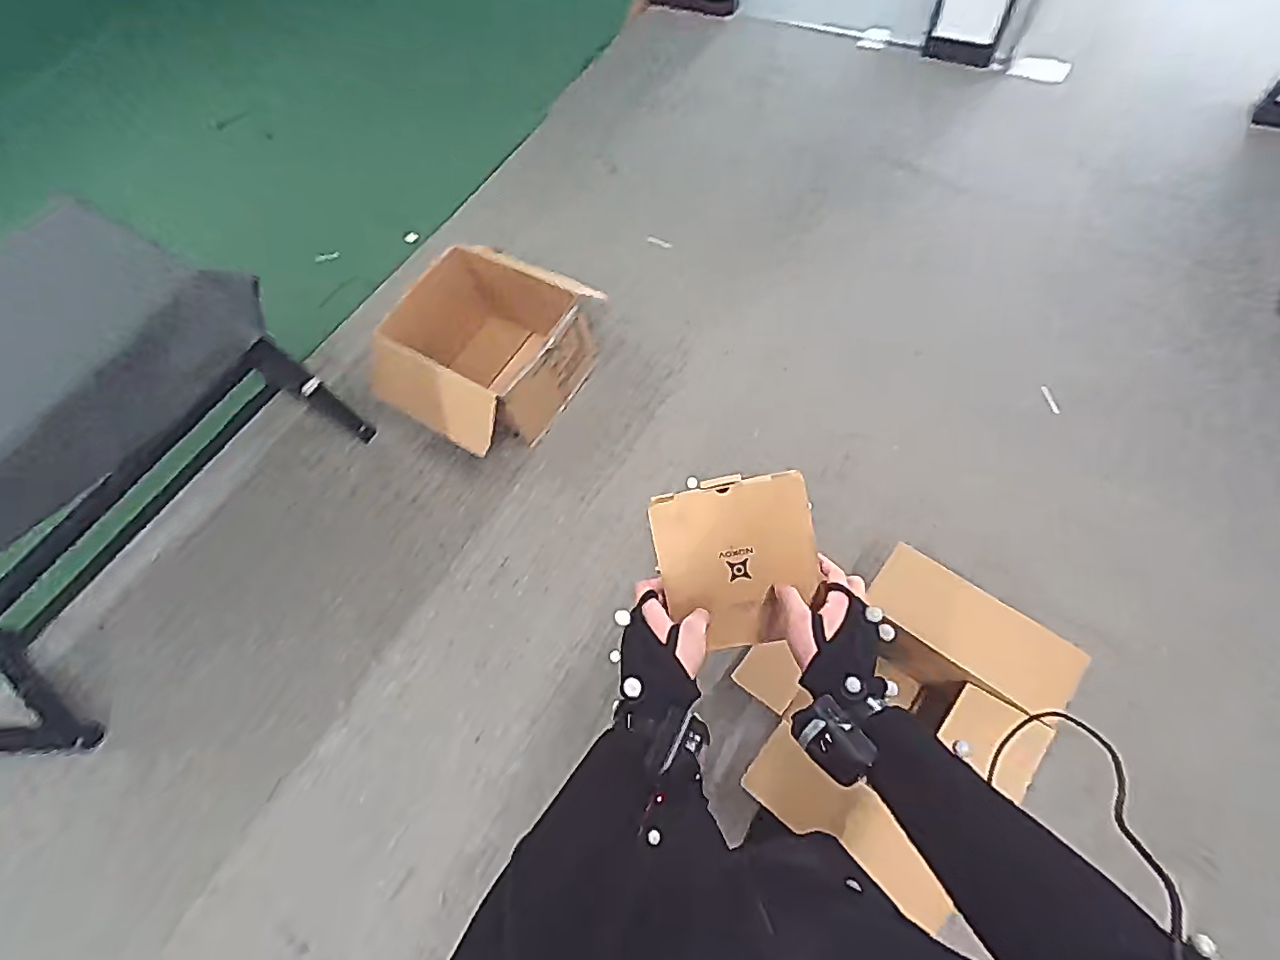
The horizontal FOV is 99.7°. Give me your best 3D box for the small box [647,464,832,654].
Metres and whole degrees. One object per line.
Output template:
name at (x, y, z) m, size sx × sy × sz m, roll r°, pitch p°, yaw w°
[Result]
small box at (0.112, 0.086, 0.643) m, size 0.168 × 0.176 × 0.179 m, roll -12°, pitch 87°, yaw 9°
